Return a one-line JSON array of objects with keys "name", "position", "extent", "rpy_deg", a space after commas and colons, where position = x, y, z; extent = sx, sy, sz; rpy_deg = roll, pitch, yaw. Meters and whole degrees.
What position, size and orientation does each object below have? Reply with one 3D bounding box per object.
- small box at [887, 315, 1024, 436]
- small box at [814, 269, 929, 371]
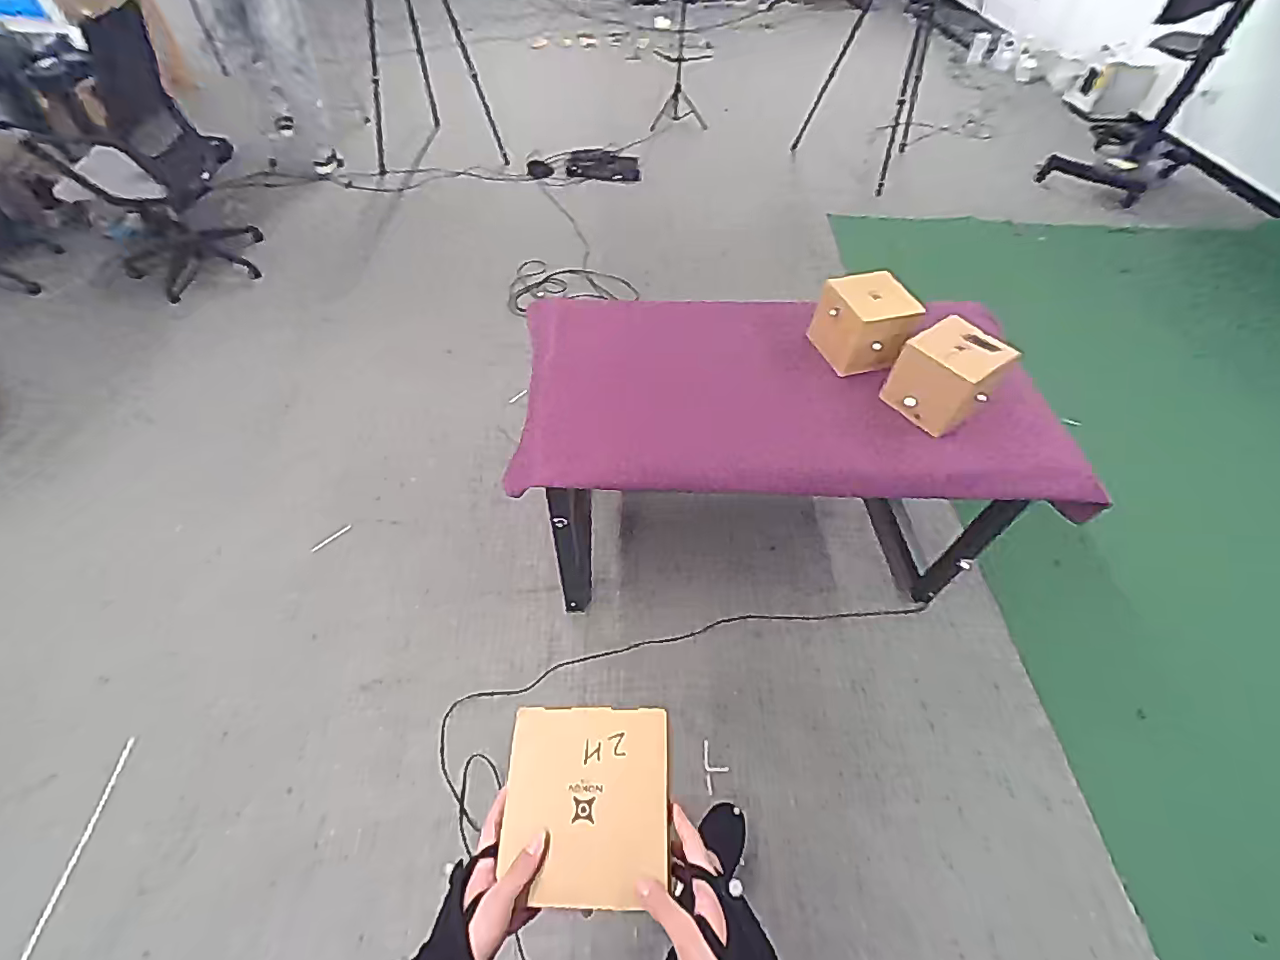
[{"name": "small box", "position": [0.691, -0.230, 1.206], "extent": [0.179, 0.176, 0.168], "rpy_deg": [-29, 59, -21]}, {"name": "small box", "position": [0.554, -0.382, 1.318], "extent": [0.168, 0.176, 0.179], "rpy_deg": [-12, 54, -11]}]
